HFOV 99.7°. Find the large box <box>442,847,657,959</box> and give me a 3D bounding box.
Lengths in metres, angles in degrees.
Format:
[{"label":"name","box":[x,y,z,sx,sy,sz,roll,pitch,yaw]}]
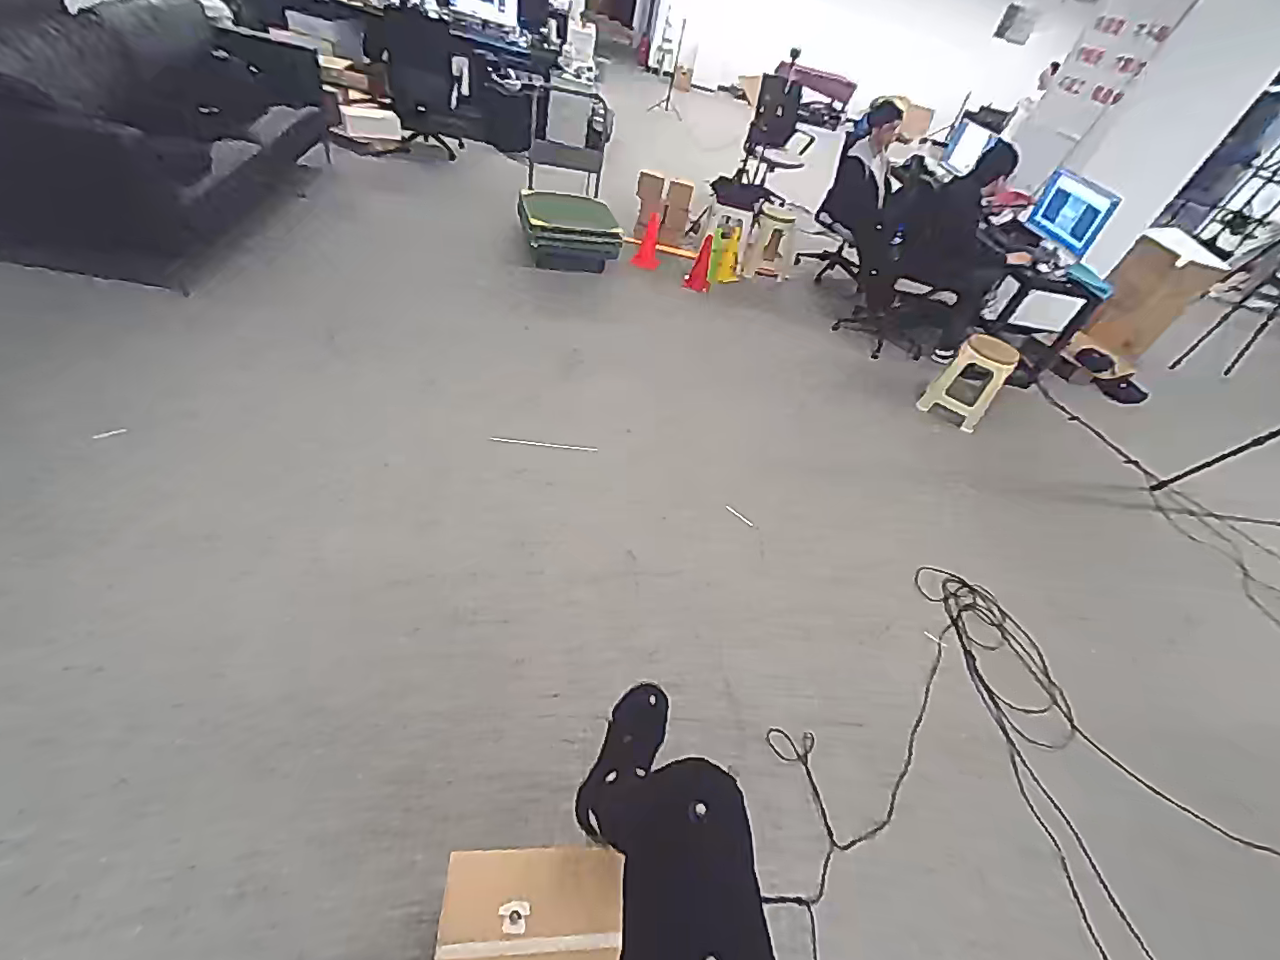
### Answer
[{"label":"large box","box":[-0.190,0.987,1.115,0.408,0.320,0.320,4,43,-11]}]
